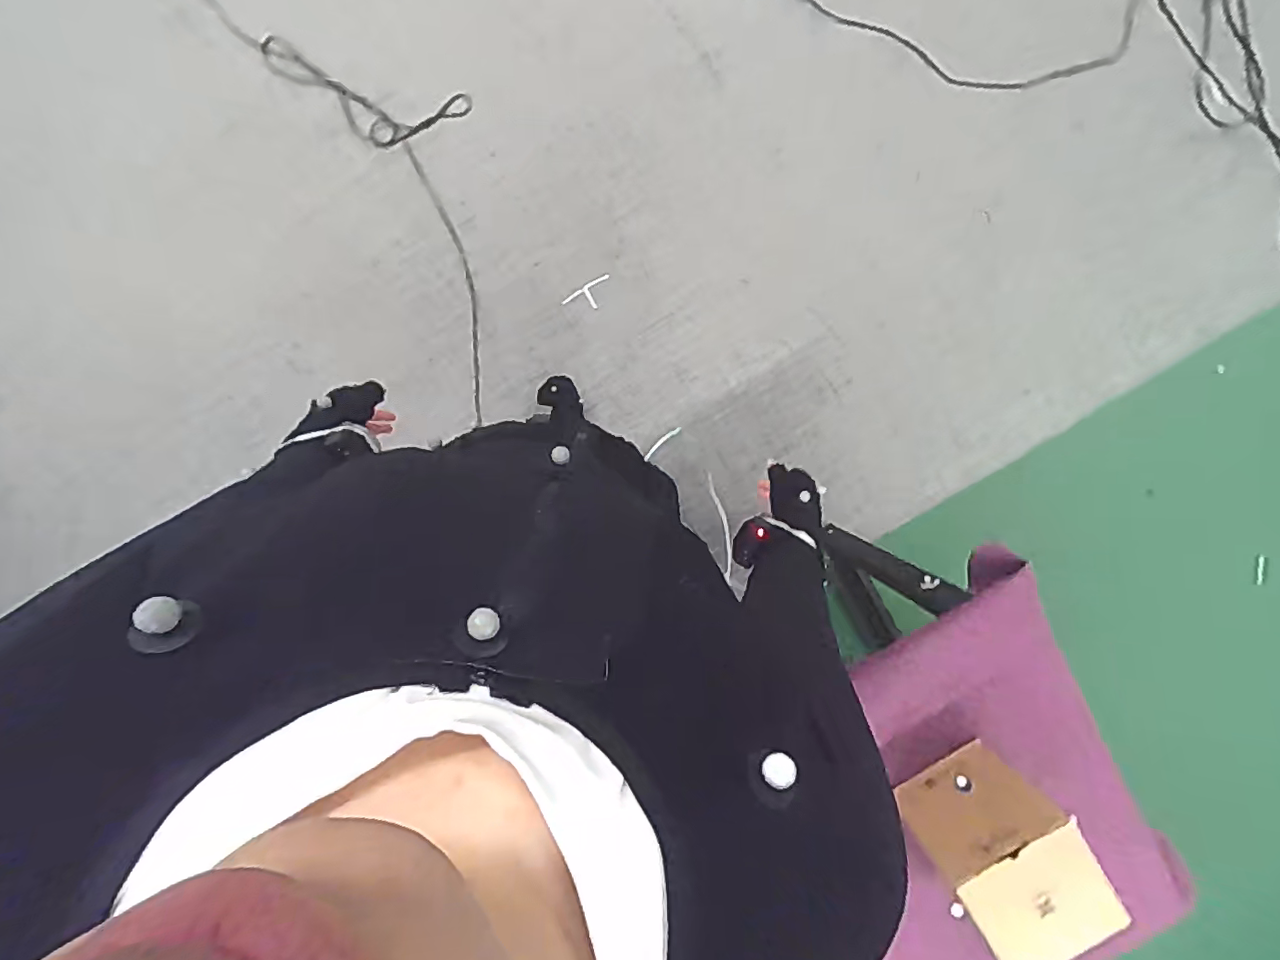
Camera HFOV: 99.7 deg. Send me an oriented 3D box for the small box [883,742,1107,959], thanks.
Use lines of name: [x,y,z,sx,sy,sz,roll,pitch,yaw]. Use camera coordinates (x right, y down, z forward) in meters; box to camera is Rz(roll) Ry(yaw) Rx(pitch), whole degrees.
small box: [0.486,0.520,0.766,0.168,0.176,0.179,-32,97,2]
